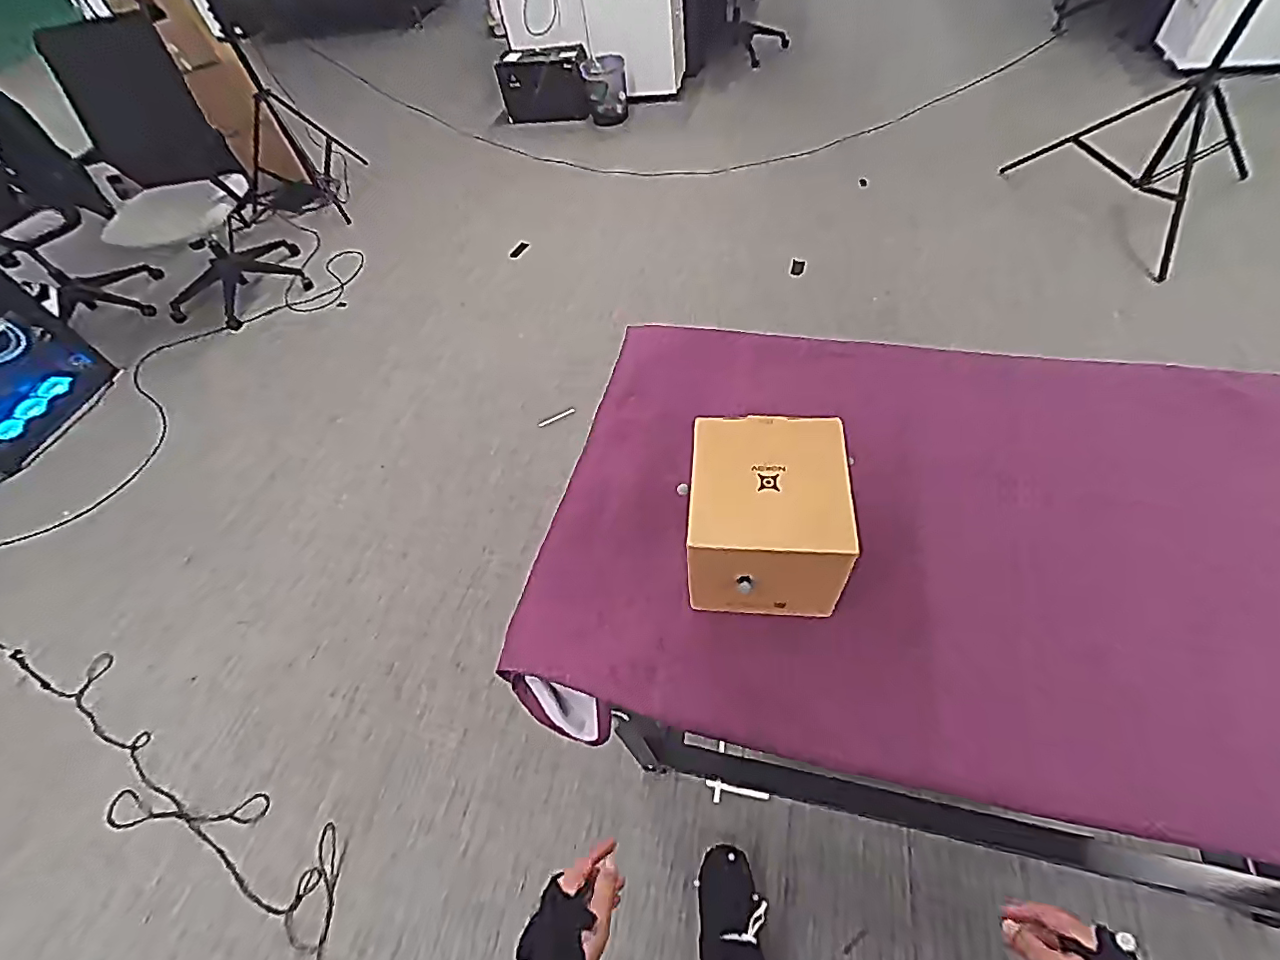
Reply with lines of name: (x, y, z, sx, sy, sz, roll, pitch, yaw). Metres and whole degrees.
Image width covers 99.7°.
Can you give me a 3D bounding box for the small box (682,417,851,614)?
small box: (0.142, 0.045, 0.639, 0.168, 0.176, 0.179, 1, 54, 9)
